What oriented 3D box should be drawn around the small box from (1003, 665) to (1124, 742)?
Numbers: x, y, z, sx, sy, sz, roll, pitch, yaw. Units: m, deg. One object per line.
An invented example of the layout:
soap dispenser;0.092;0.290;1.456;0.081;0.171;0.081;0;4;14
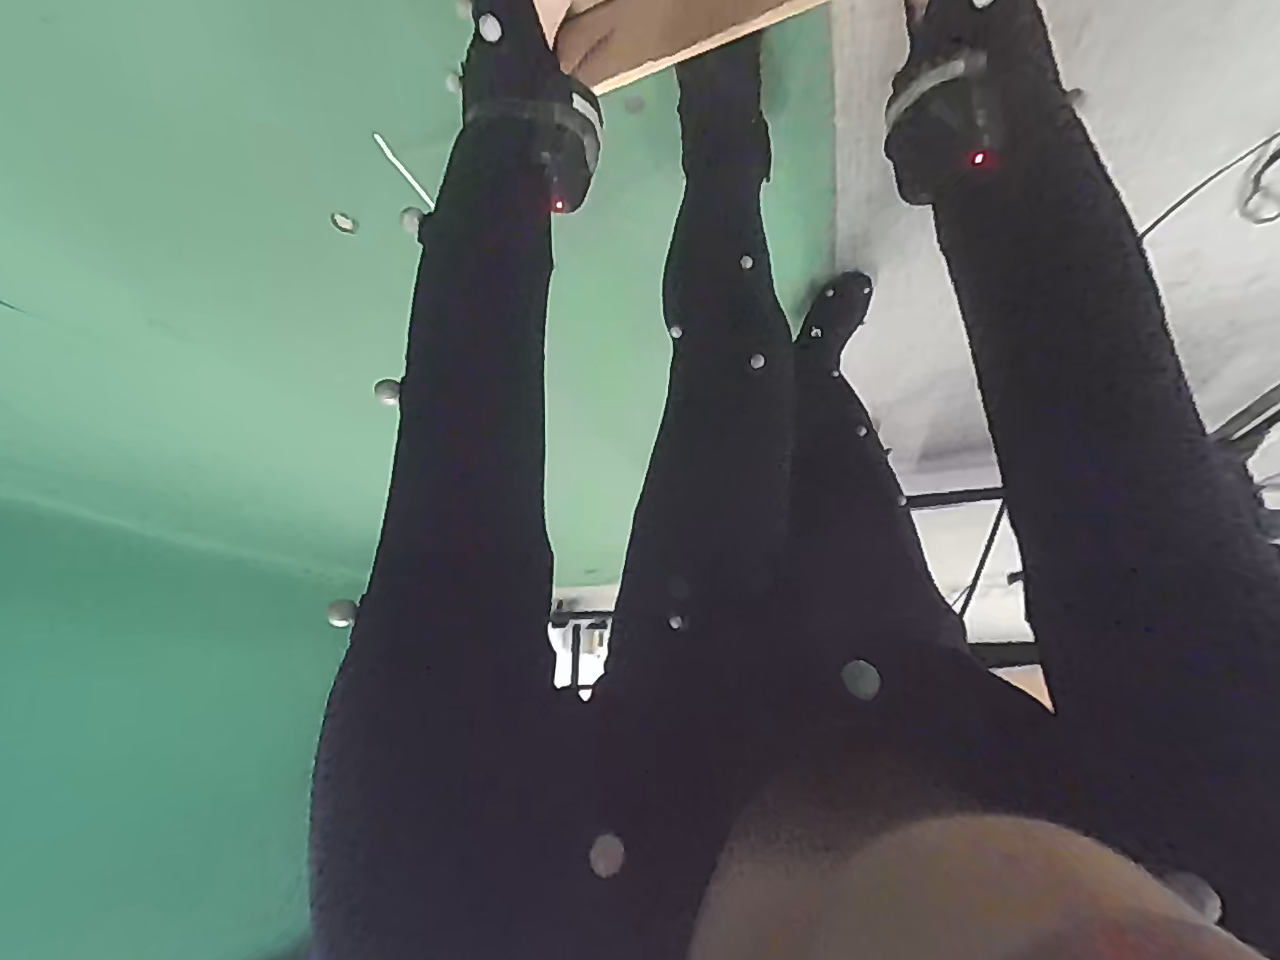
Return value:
small box;1.056;0.564;1.370;0.168;0.176;0.179;-3;158;4
